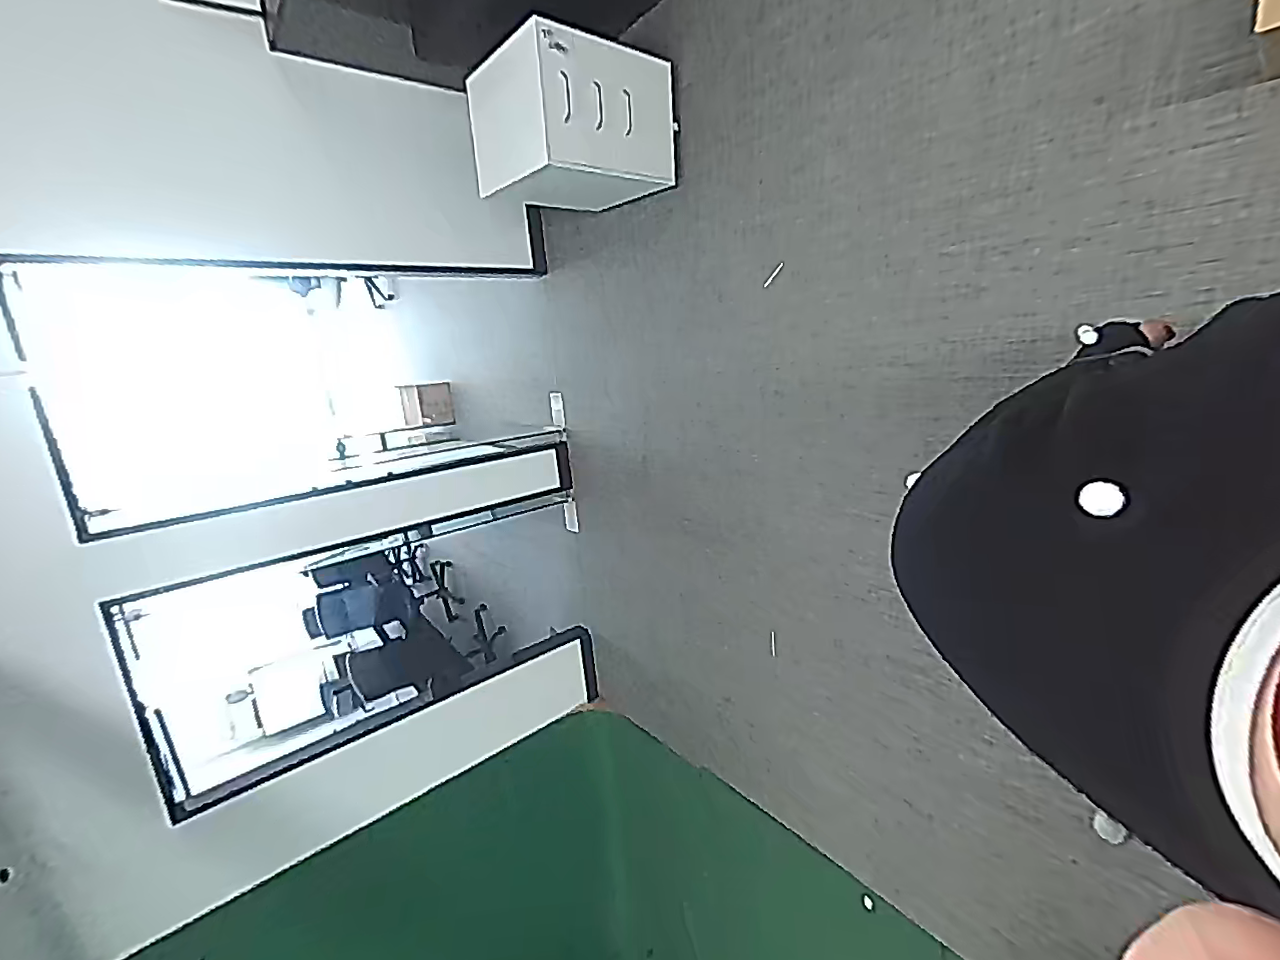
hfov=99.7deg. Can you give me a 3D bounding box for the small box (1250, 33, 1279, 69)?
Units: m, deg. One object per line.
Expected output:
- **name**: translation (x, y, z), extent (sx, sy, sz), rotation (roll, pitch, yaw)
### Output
- **small box**: translation (1.099, -0.782, 0.839), extent (0.179, 0.176, 0.168), rotation (13, 112, 49)

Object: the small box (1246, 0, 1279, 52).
- **small box**: translation (0.973, -0.739, 0.741), extent (0.168, 0.176, 0.179), rotation (12, 112, 50)
